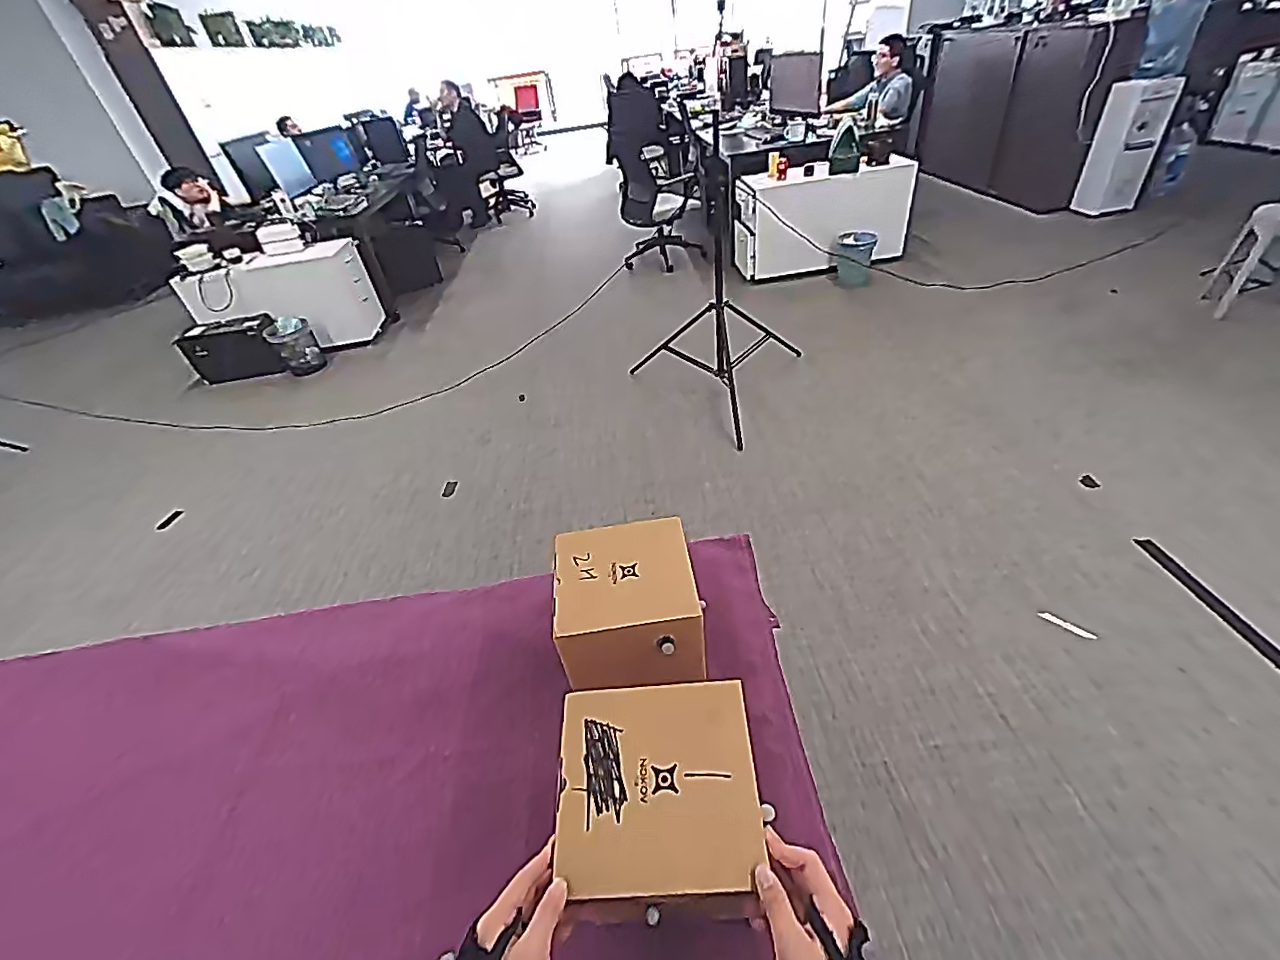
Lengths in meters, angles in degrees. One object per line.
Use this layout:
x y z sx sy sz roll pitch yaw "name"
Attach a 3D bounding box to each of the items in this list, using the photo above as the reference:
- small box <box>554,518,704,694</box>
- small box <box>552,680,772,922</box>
-0.012 0.177 0.728 0.179 0.176 0.168 -9 40 0 "small box"
0.027 0.316 0.527 0.179 0.176 0.168 -7 46 5 "small box"
